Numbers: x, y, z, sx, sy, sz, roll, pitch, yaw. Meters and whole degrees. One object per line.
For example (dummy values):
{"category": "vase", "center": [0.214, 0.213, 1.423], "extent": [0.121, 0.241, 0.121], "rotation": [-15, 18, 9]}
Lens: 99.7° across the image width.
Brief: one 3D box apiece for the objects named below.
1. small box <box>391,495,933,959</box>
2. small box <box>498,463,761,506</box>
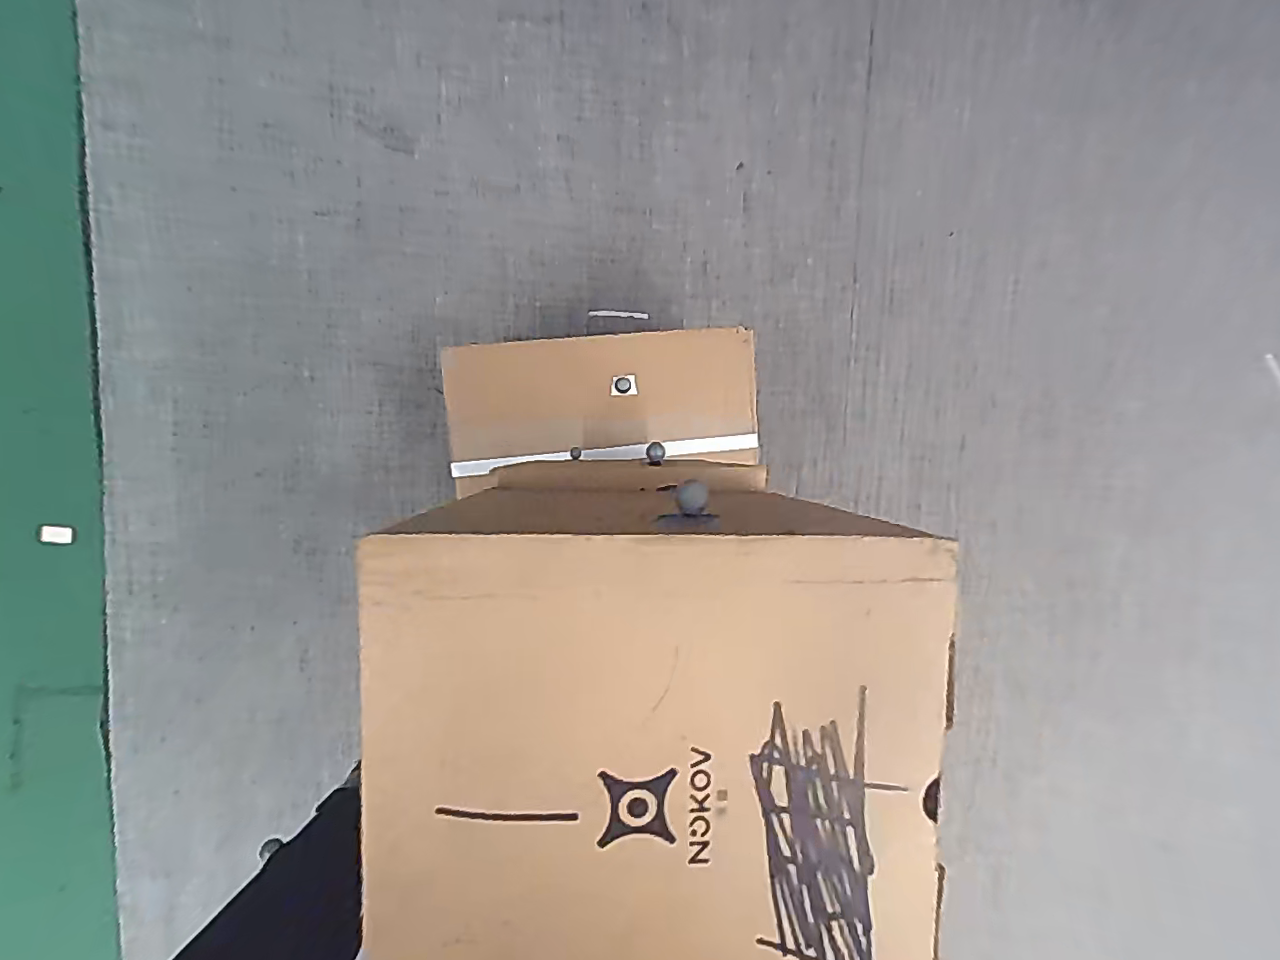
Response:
{"category": "small box", "center": [0.003, 0.094, 0.255], "extent": [0.179, 0.176, 0.168], "rotation": [1, 92, -3]}
{"category": "small box", "center": [-0.011, 0.077, 0.419], "extent": [0.168, 0.176, 0.179], "rotation": [-1, 93, -4]}
